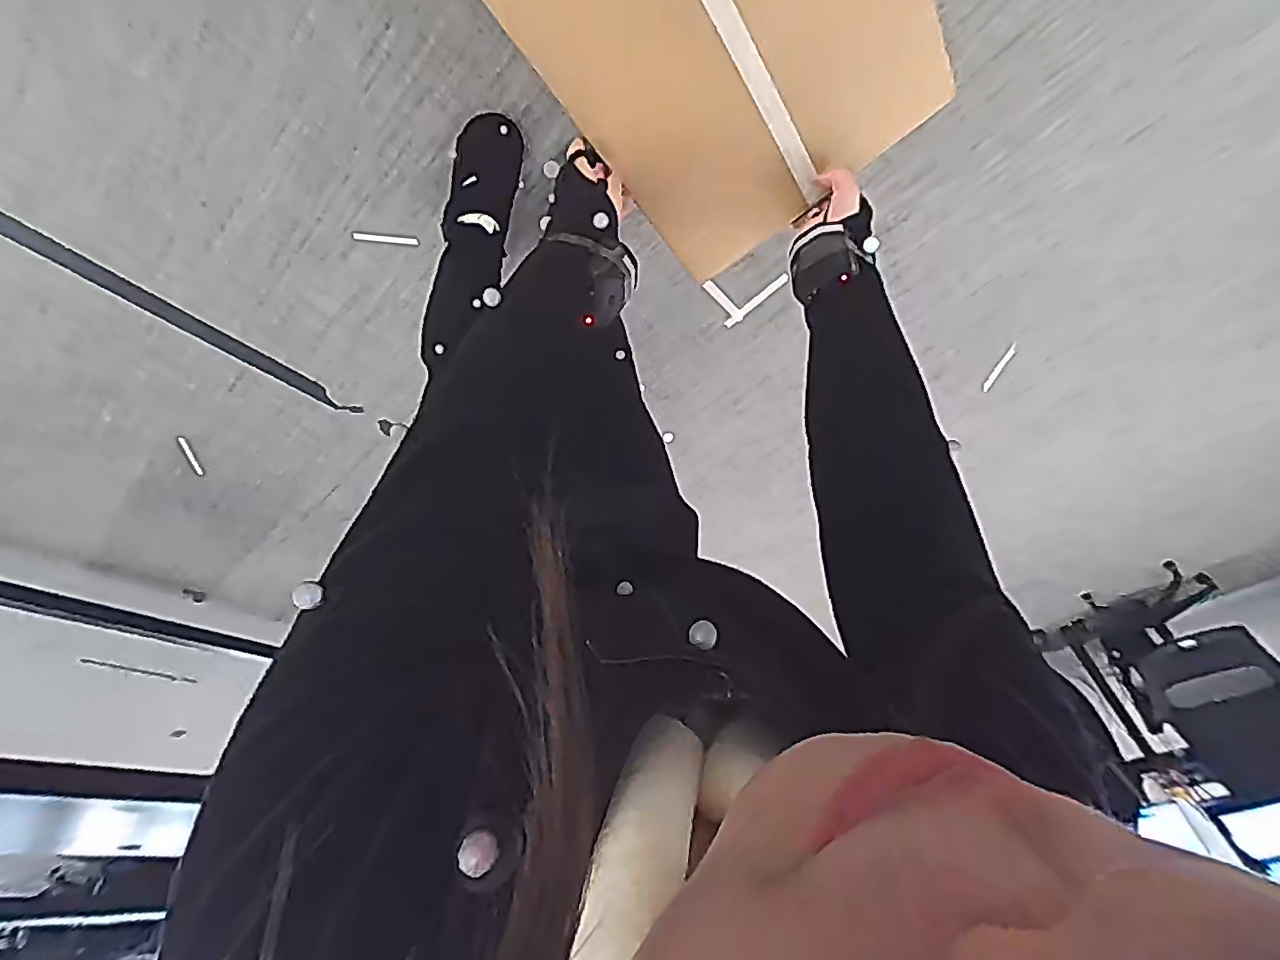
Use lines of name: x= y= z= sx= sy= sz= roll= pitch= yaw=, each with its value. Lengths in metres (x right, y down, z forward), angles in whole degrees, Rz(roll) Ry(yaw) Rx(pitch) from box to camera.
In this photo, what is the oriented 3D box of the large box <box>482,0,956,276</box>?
large box: x=0.060 y=-0.518 z=0.574 sx=0.320 sy=0.320 sz=0.408 roll=-32 pitch=132 yaw=24
